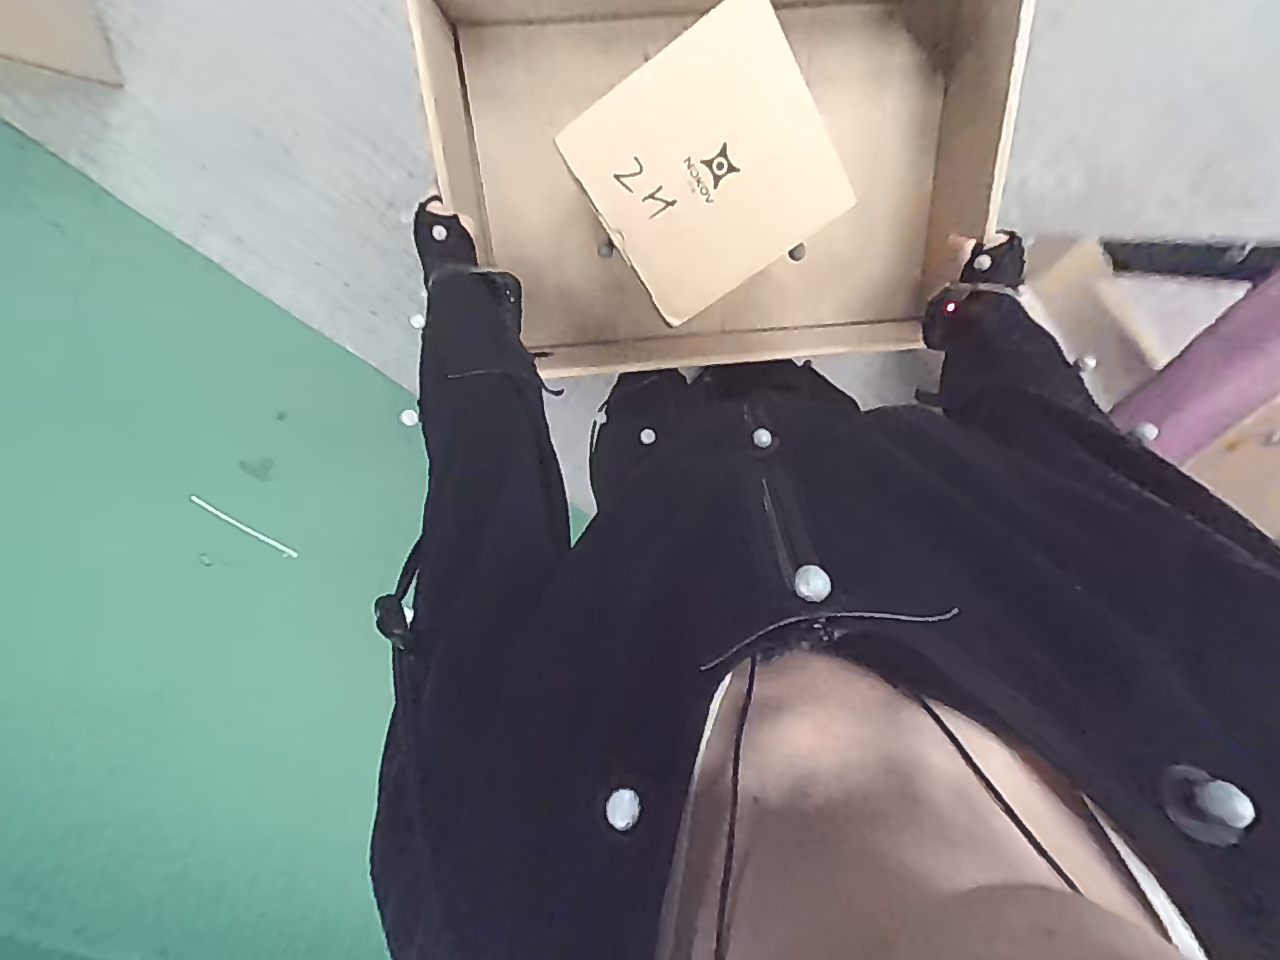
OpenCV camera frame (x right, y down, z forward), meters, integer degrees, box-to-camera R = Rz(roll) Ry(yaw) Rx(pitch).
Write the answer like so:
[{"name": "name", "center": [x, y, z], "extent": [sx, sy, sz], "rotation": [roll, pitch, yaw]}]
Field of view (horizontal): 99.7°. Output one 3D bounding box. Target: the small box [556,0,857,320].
[{"name": "small box", "center": [0.048, -0.266, 0.474], "extent": [0.179, 0.176, 0.168], "rotation": [-33, 109, 10]}]

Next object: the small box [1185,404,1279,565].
[{"name": "small box", "center": [0.927, 0.022, 0.738], "extent": [0.179, 0.176, 0.168], "rotation": [39, 107, -17]}]
